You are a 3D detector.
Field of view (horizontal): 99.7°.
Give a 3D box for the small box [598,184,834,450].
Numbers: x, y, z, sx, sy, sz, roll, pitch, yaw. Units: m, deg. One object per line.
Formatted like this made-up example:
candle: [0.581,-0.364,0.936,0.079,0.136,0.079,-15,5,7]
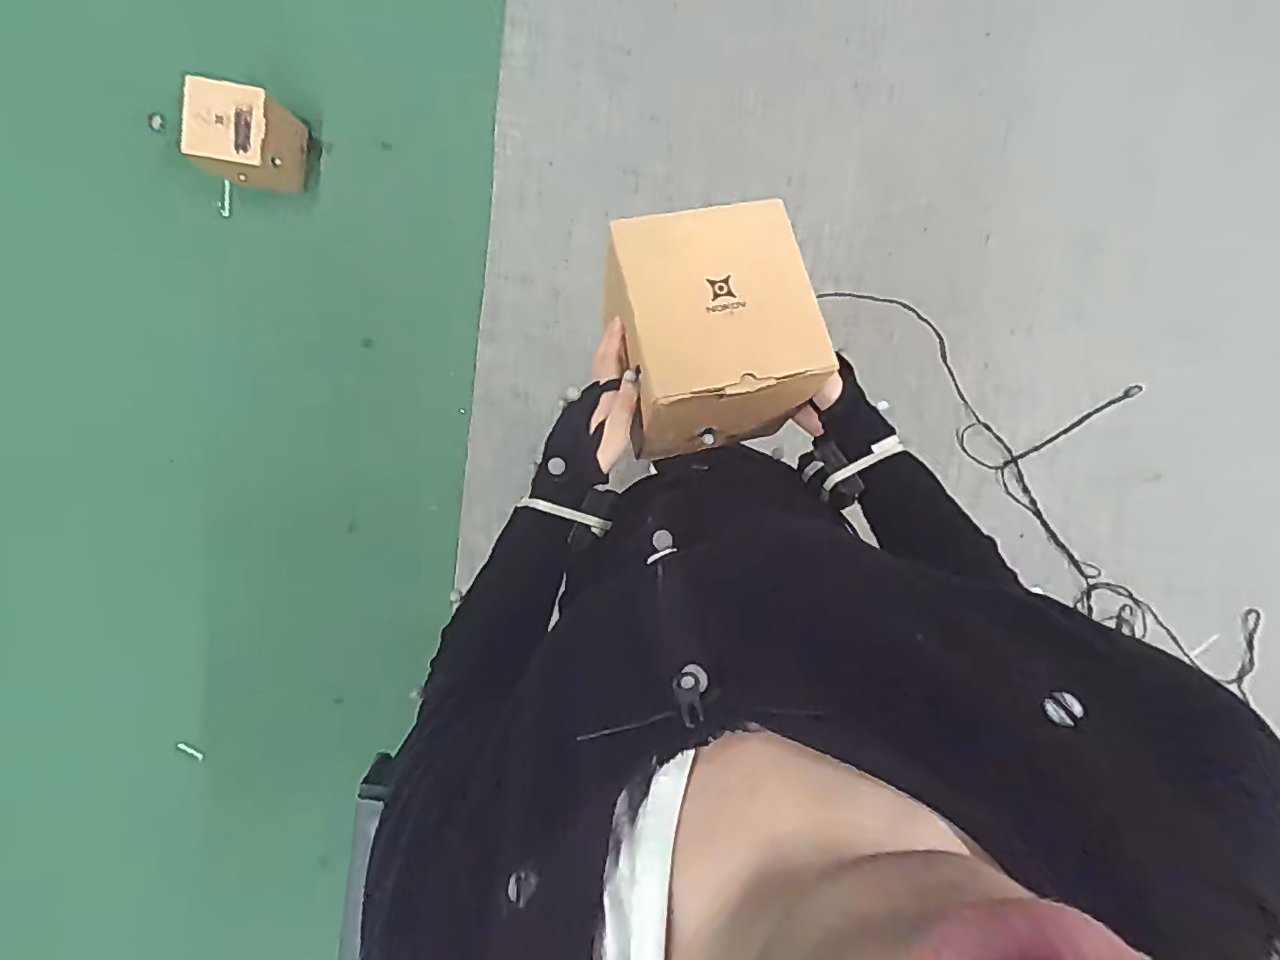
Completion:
small box: [0.055,-0.149,0.532,0.168,0.176,0.179,-13,77,-8]
